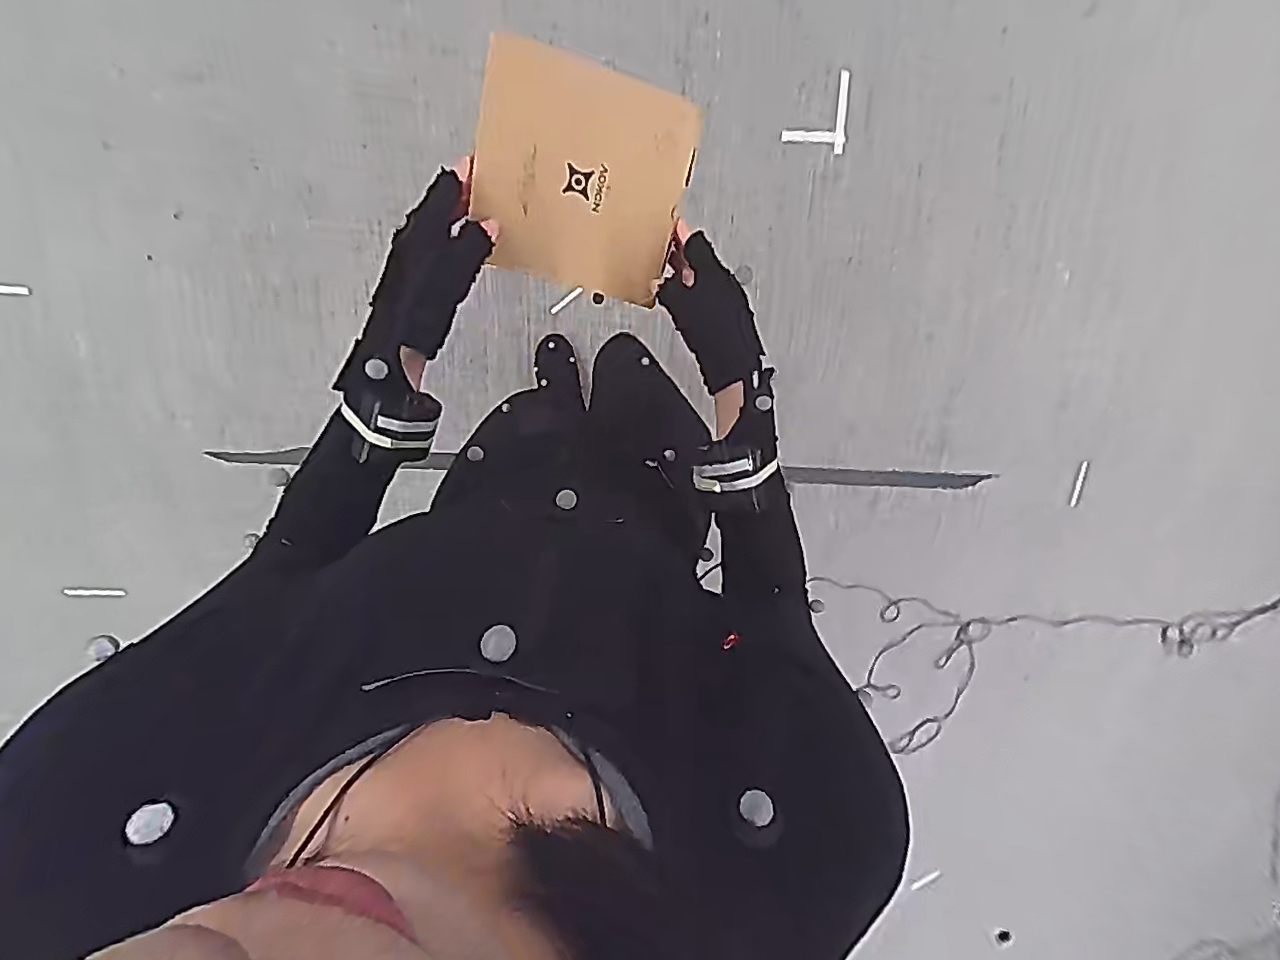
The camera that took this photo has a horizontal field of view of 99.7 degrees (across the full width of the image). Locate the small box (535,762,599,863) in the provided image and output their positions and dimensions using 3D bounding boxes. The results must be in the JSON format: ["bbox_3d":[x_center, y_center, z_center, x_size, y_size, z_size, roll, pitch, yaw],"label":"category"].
[{"bbox_3d":[-0.200,0.932,1.521,0.168,0.176,0.179,-3,107,-4],"label":"small box"}]

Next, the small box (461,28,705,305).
[{"bbox_3d":[-0.062,-0.282,0.522,0.179,0.176,0.168,10,111,-15],"label":"small box"}]
